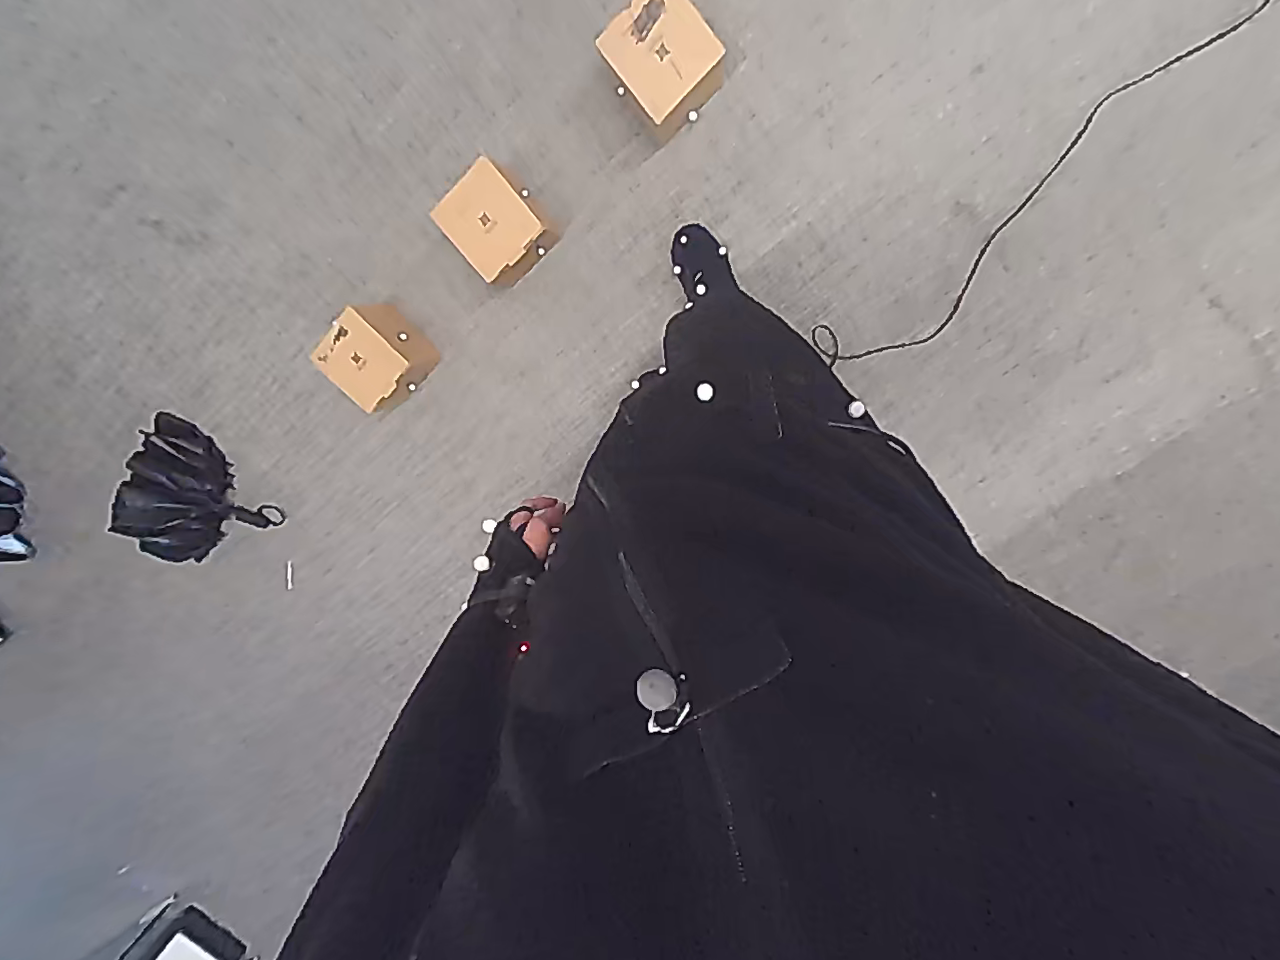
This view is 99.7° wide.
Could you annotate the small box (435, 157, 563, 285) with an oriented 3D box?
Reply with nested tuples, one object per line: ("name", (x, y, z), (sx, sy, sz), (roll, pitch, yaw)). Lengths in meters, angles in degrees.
("small box", (-0.290, -0.541, 1.155), (0.168, 0.176, 0.179), (-39, 100, 15))

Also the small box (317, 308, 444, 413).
("small box", (-0.599, -0.288, 1.273), (0.168, 0.176, 0.179), (-42, 100, 17))

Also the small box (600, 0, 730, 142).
("small box", (0.051, -0.789, 1.028), (0.168, 0.176, 0.179), (-39, 101, 18))
